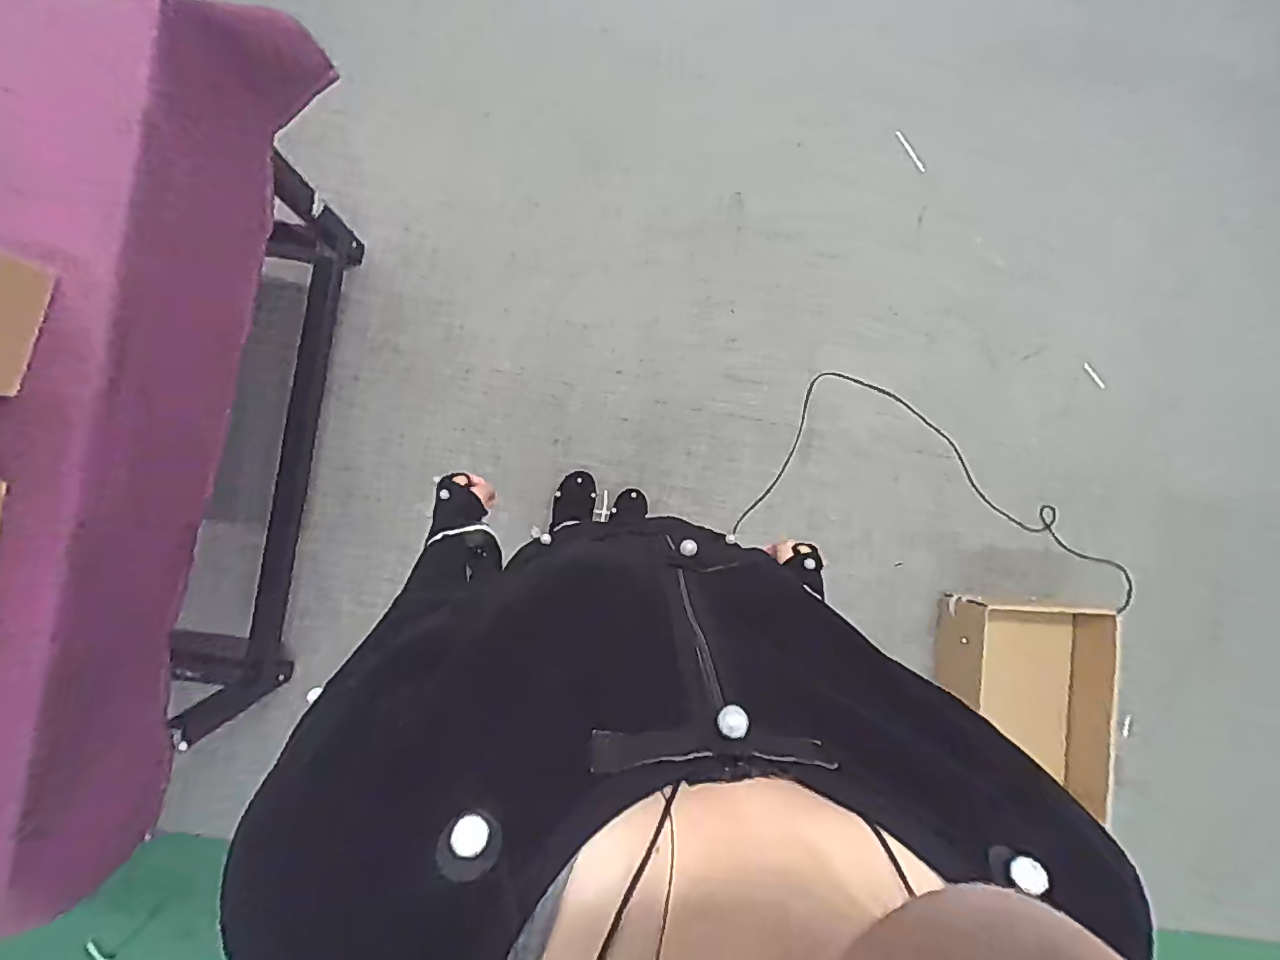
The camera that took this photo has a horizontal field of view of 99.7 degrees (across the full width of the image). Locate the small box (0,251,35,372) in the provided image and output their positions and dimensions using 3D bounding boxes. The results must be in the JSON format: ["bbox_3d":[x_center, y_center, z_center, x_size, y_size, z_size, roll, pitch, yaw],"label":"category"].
[{"bbox_3d":[-0.858,-0.215,0.603,0.168,0.176,0.179,17,88,-6],"label":"small box"}]
